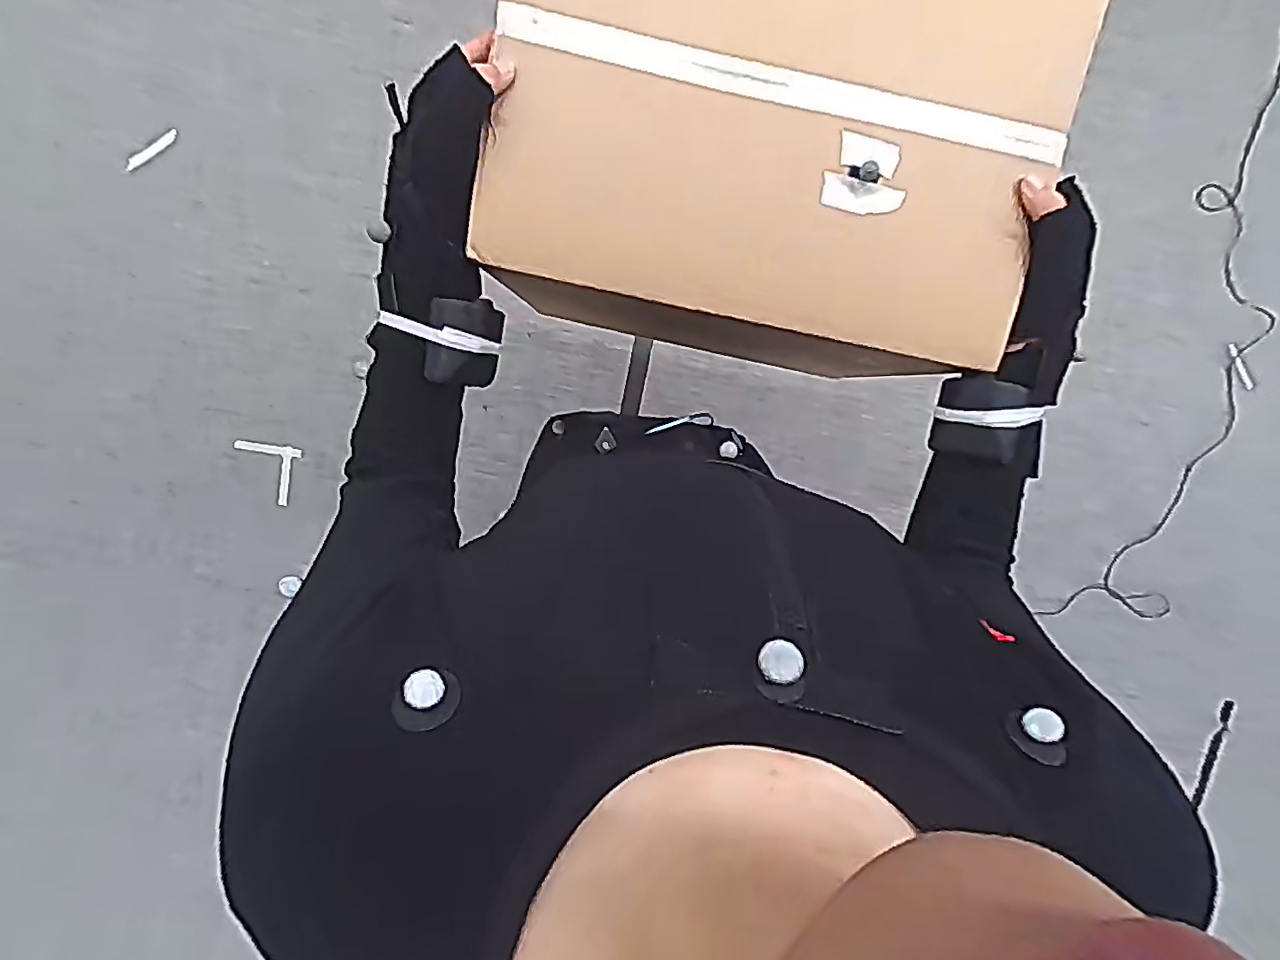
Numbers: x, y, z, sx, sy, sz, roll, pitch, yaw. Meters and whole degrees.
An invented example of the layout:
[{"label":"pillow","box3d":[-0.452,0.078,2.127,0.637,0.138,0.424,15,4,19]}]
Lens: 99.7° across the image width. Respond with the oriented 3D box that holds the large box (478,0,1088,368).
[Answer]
[{"label":"large box","box3d":[0.094,-0.303,0.531,0.408,0.320,0.320,11,101,-4]}]
